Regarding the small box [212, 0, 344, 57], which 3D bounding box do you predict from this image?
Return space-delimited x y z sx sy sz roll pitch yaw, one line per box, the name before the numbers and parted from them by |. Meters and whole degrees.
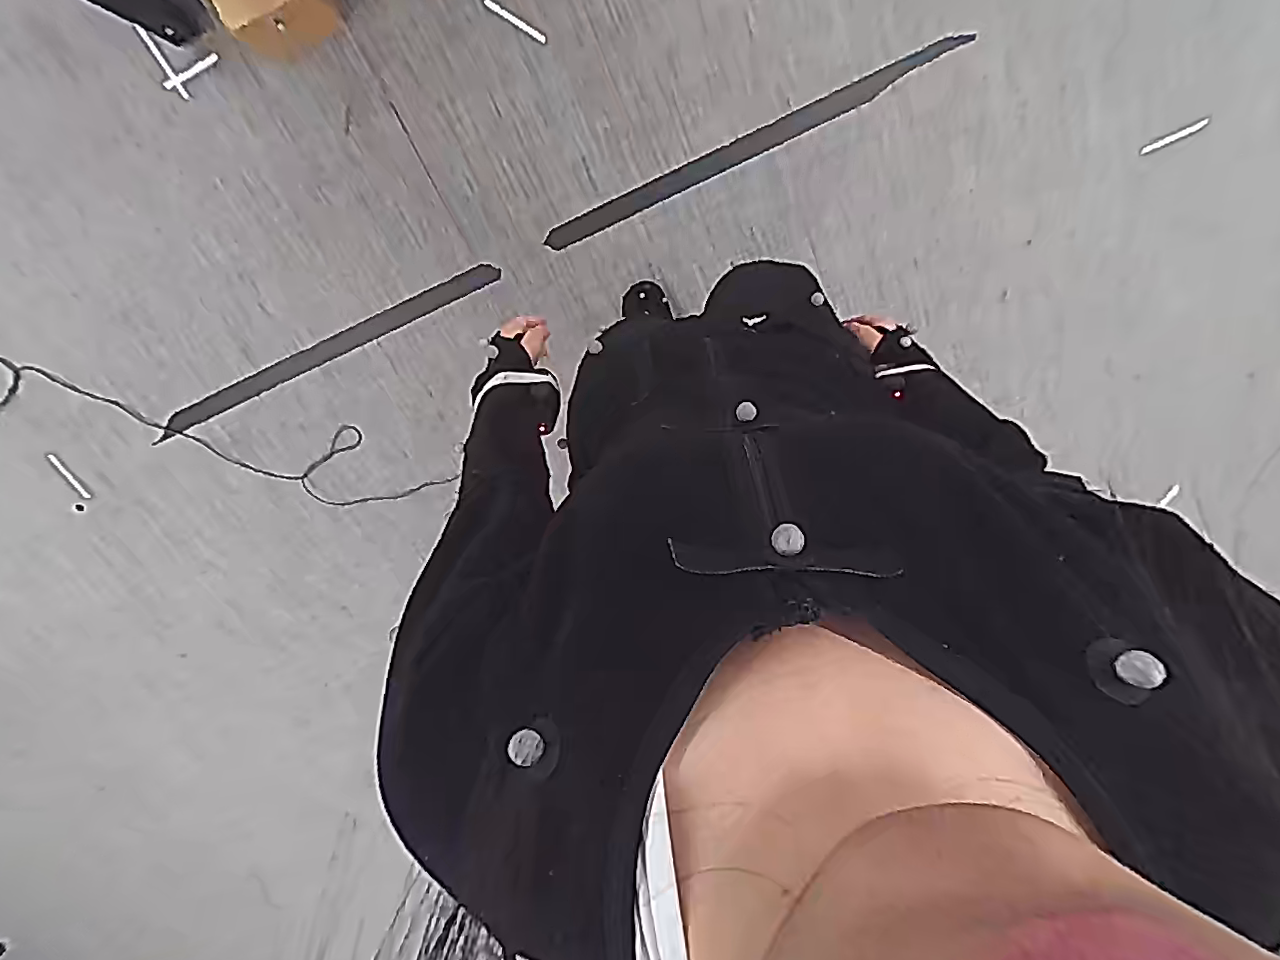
small box | -0.718 -0.963 1.038 0.179 0.176 0.168 -23 112 5
